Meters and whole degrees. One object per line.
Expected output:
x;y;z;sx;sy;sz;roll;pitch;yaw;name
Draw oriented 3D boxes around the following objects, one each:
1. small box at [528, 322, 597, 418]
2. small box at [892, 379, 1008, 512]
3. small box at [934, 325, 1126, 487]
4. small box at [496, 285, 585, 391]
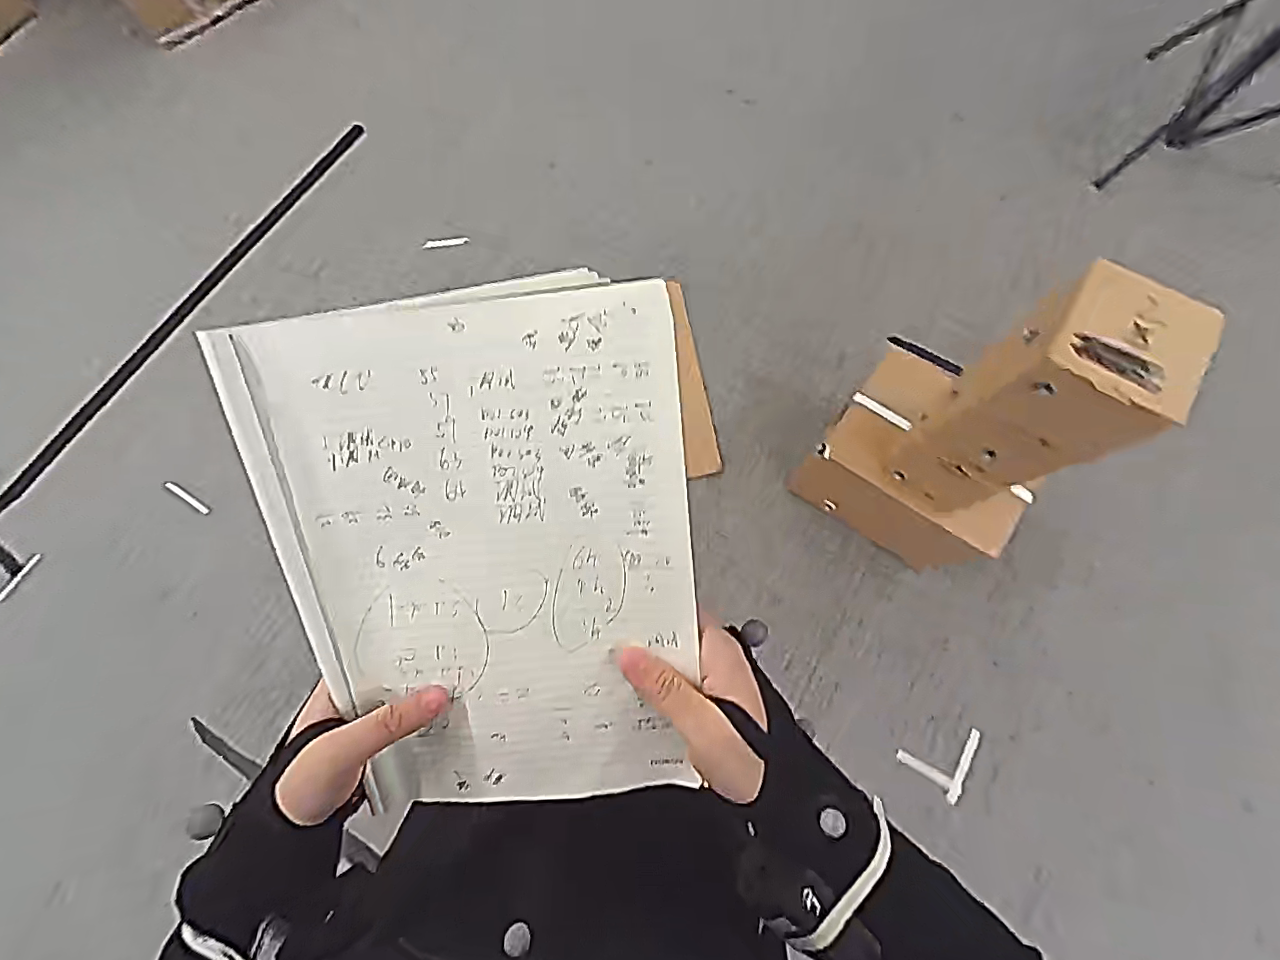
-0.216;-0.287;1.437;0.168;0.176;0.179;-13;76;-3;small box
0.621;-0.060;1.048;0.168;0.176;0.179;36;78;10;small box
0.623;-0.111;0.891;0.168;0.176;0.179;34;79;9;small box
-0.229;-0.324;1.277;0.168;0.176;0.179;-12;75;-3;small box
